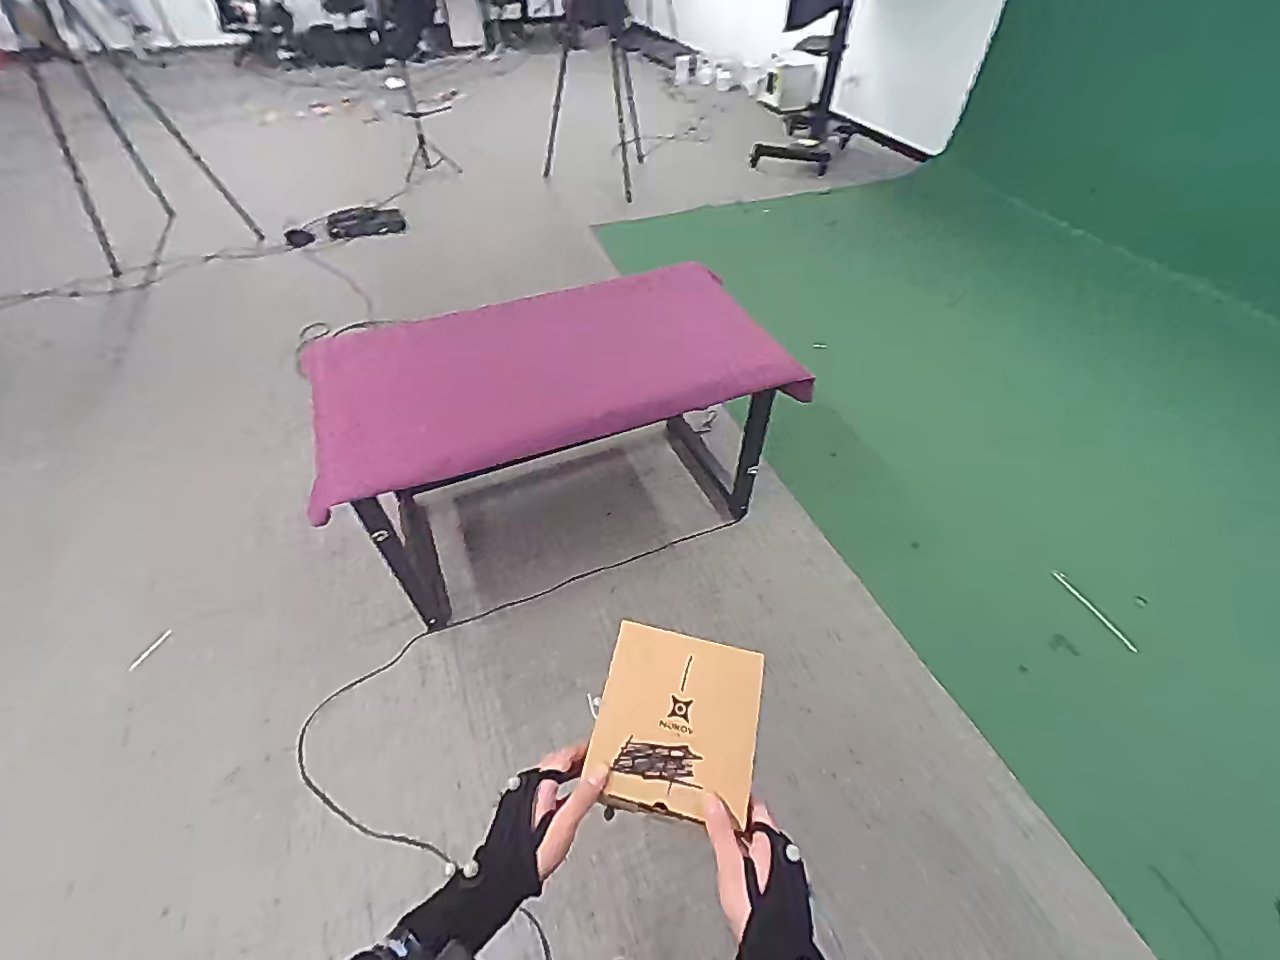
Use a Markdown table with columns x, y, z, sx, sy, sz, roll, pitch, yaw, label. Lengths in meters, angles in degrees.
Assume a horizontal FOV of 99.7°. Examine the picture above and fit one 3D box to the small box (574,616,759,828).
| x | y | z | sx | sy | sz | roll | pitch | yaw | label |
| --- | --- | --- | --- | --- | --- | --- | --- | --- | --- |
| 0.032 | 0.285 | 0.628 | 0.168 | 0.176 | 0.179 | 12 | 56 | 5 | small box |
